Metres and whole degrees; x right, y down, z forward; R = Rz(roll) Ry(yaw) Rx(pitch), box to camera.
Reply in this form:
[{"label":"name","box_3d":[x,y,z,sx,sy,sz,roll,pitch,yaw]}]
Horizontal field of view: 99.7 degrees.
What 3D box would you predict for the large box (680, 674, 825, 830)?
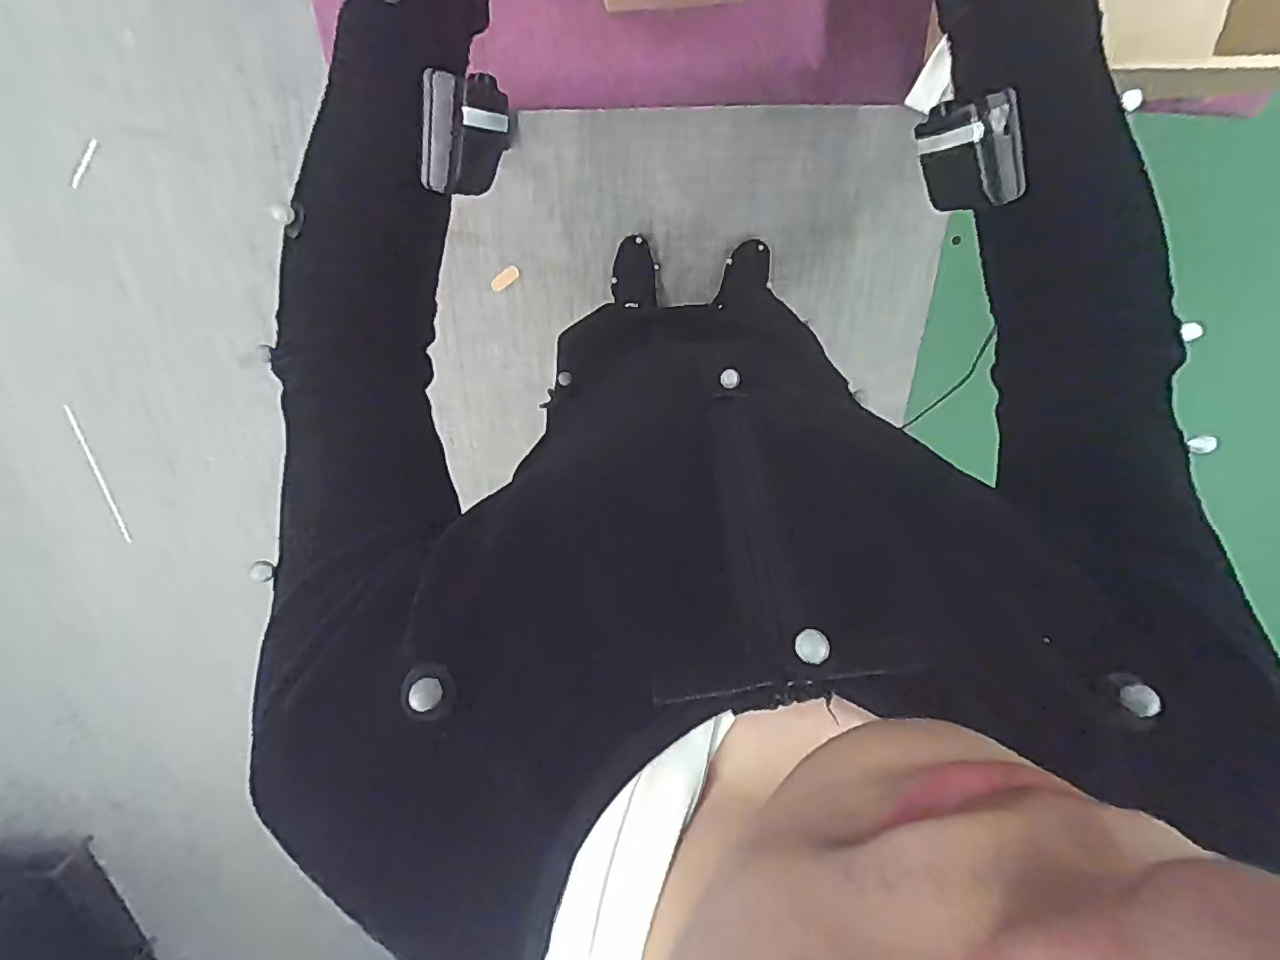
[{"label":"large box","box_3d":[0.405,1.014,2.032,0.408,0.320,0.320,-30,112,11]}]
